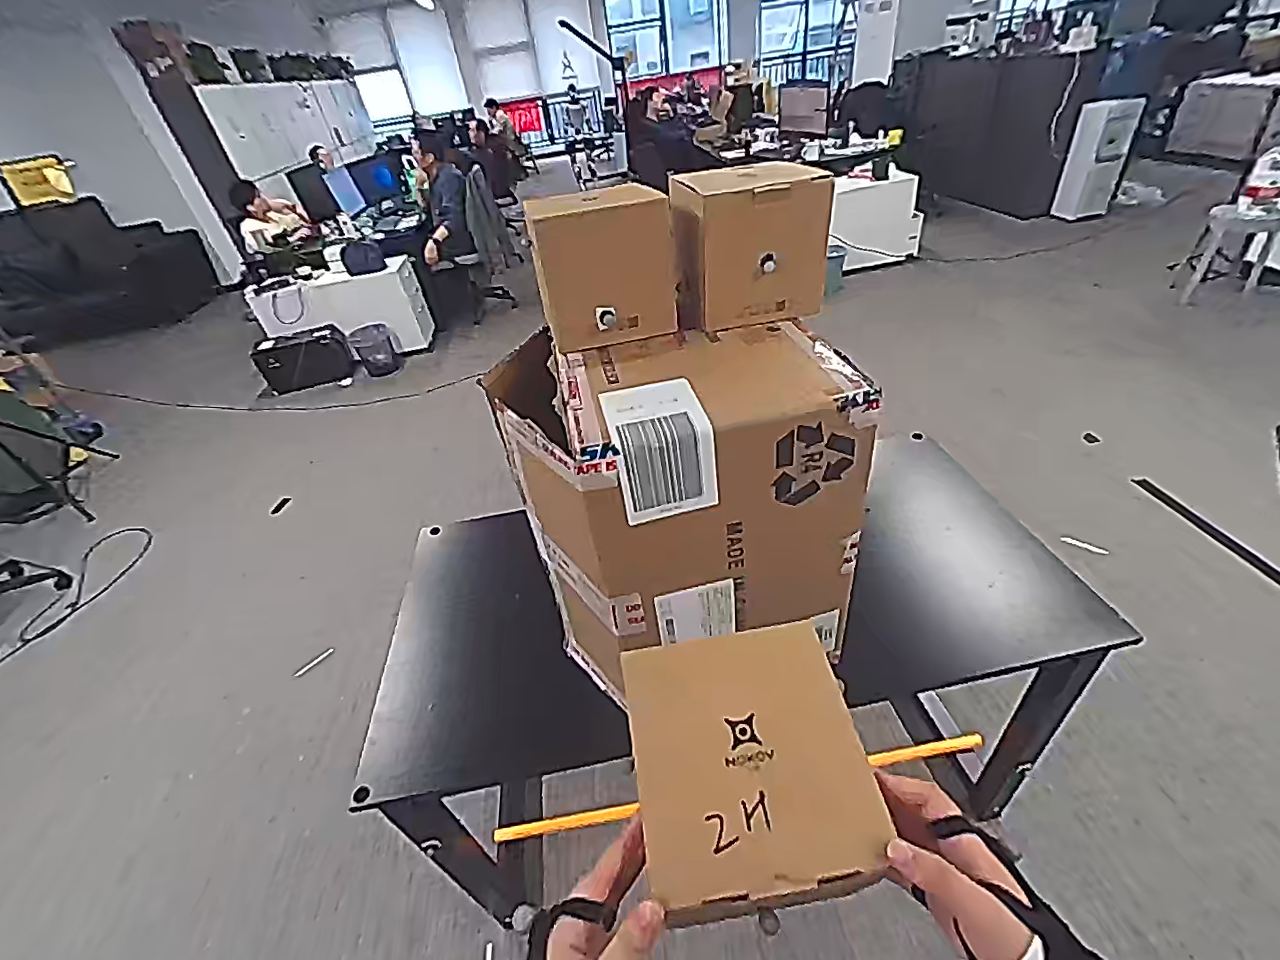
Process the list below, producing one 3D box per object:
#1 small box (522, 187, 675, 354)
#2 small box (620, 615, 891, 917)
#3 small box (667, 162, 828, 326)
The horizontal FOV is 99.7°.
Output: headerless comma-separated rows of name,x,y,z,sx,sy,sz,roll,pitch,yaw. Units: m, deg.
small box,-0.058,-0.291,0.744,0.168,0.176,0.179,-15,36,-8
small box,0.079,0.243,0.462,0.168,0.176,0.179,-9,47,-1
small box,0.139,-0.323,0.749,0.168,0.176,0.179,-10,38,-6
